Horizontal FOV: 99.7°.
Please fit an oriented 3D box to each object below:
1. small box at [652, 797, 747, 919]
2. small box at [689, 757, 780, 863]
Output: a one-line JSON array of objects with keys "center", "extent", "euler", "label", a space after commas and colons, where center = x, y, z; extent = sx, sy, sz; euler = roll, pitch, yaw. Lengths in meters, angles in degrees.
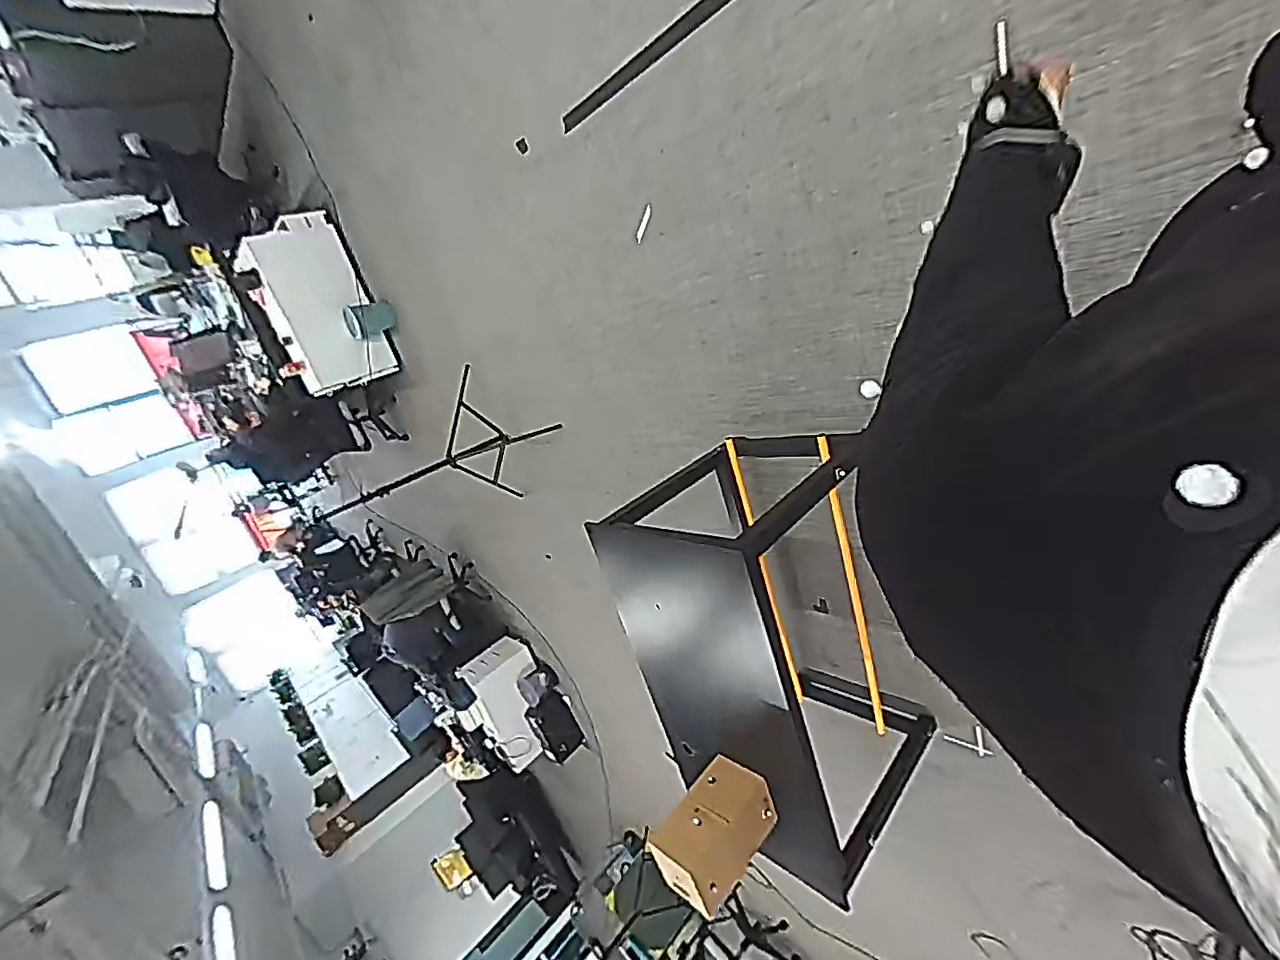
[{"center": [0.167, 1.024, 1.480], "extent": [0.168, 0.176, 0.179], "euler": [-1, 115, 51], "label": "small box"}, {"center": [0.278, 0.950, 1.578], "extent": [0.179, 0.176, 0.168], "euler": [0, 117, 50], "label": "small box"}]
